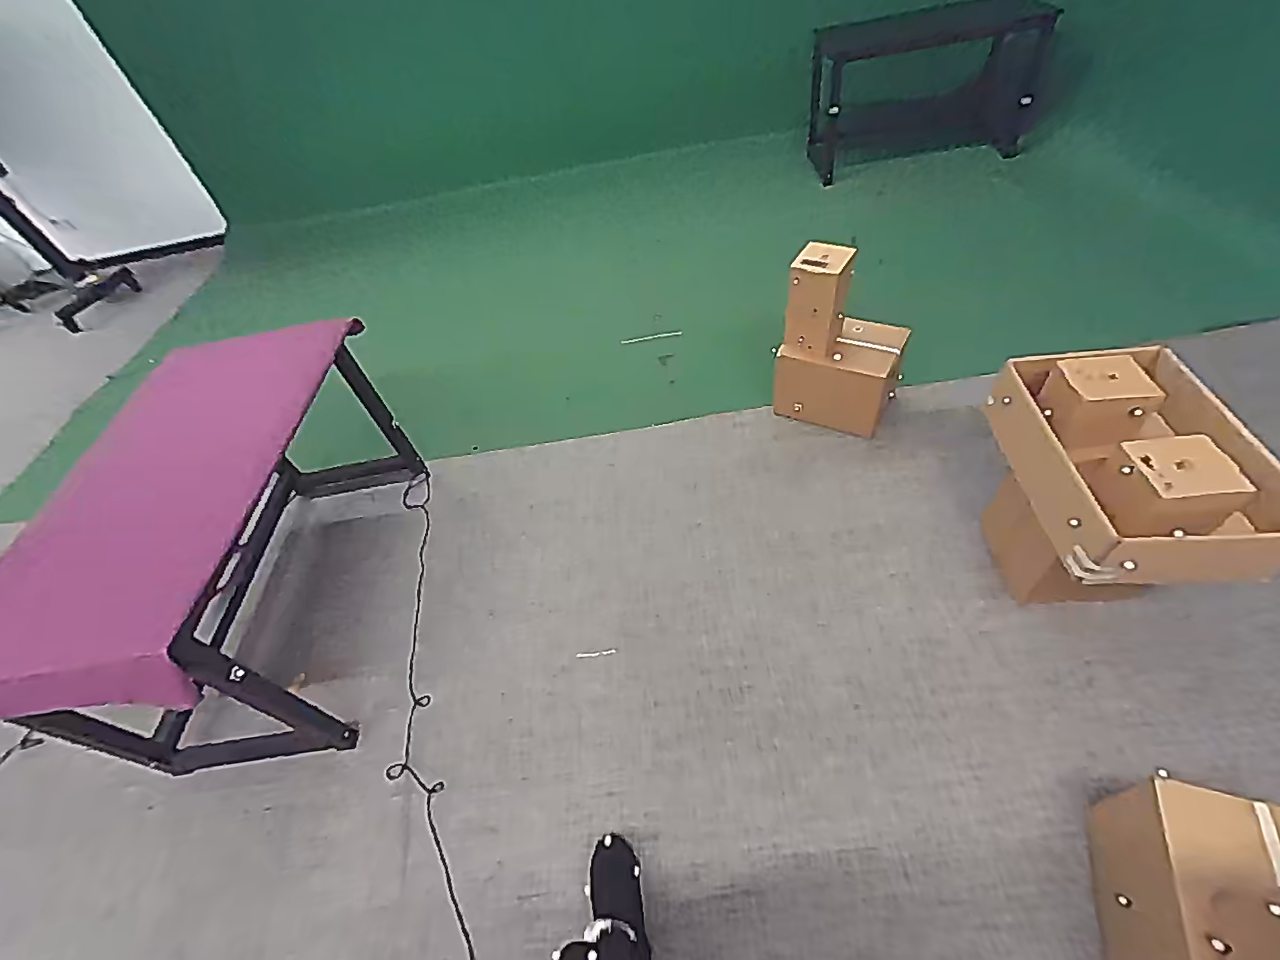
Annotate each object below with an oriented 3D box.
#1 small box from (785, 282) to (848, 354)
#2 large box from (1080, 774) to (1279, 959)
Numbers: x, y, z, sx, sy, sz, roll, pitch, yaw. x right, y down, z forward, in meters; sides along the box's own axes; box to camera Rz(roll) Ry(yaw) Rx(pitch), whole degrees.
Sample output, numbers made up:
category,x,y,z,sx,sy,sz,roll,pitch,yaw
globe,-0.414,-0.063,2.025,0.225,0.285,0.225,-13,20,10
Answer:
category,x,y,z,sx,sy,sz,roll,pitch,yaw
small box,0.646,-0.597,1.998,0.168,0.176,0.179,23,59,26
large box,1.089,0.843,1.002,0.320,0.320,0.408,10,52,18
